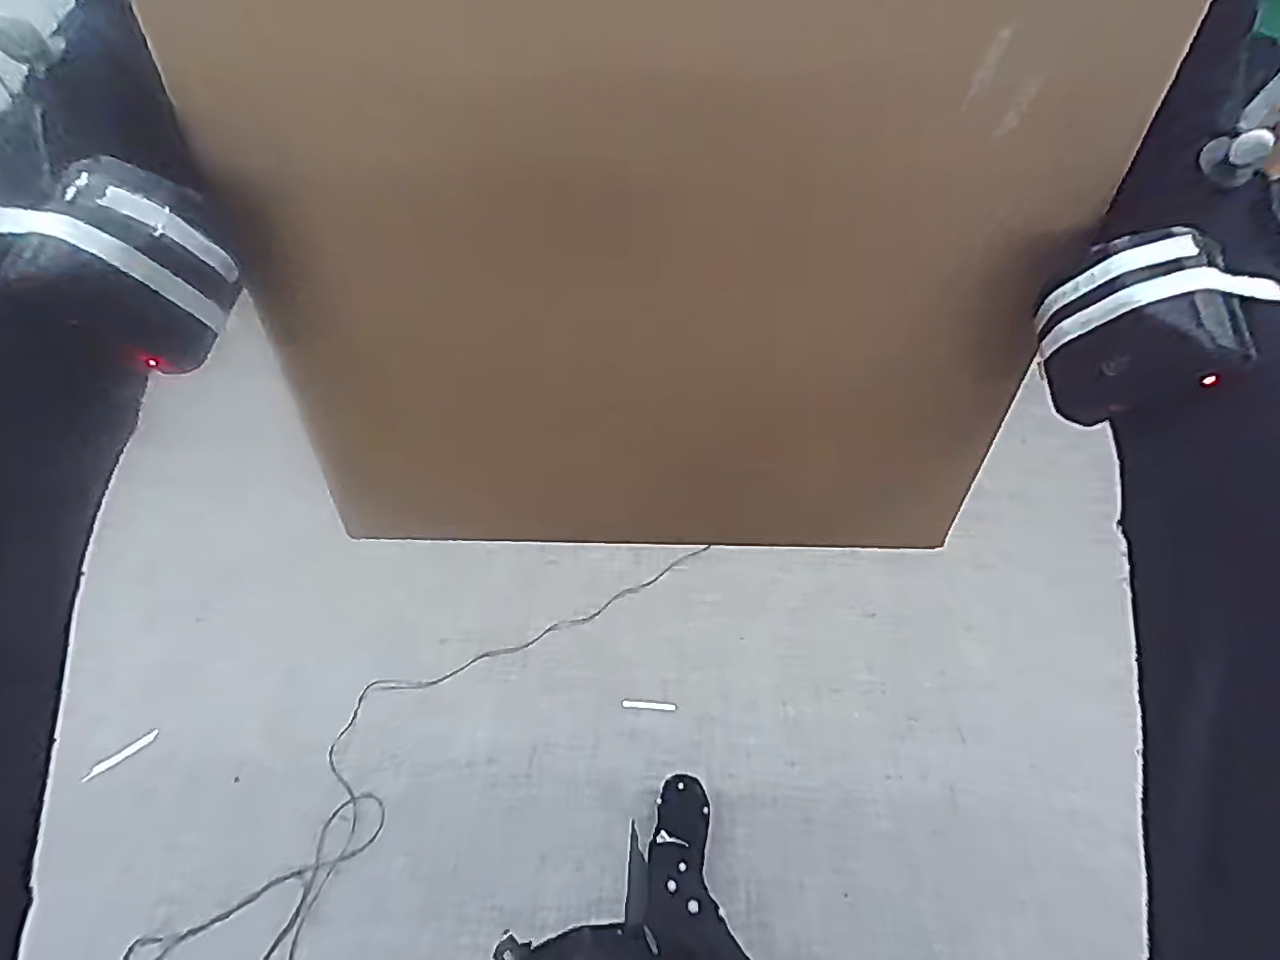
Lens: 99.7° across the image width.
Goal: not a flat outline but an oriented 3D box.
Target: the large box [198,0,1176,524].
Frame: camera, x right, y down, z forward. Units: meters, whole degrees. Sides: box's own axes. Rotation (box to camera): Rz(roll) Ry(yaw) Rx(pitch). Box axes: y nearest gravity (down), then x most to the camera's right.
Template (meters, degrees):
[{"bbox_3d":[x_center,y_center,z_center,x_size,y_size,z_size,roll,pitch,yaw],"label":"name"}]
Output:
[{"bbox_3d":[0.012,-0.180,0.405,0.408,0.320,0.320,2,37,-2],"label":"large box"}]
